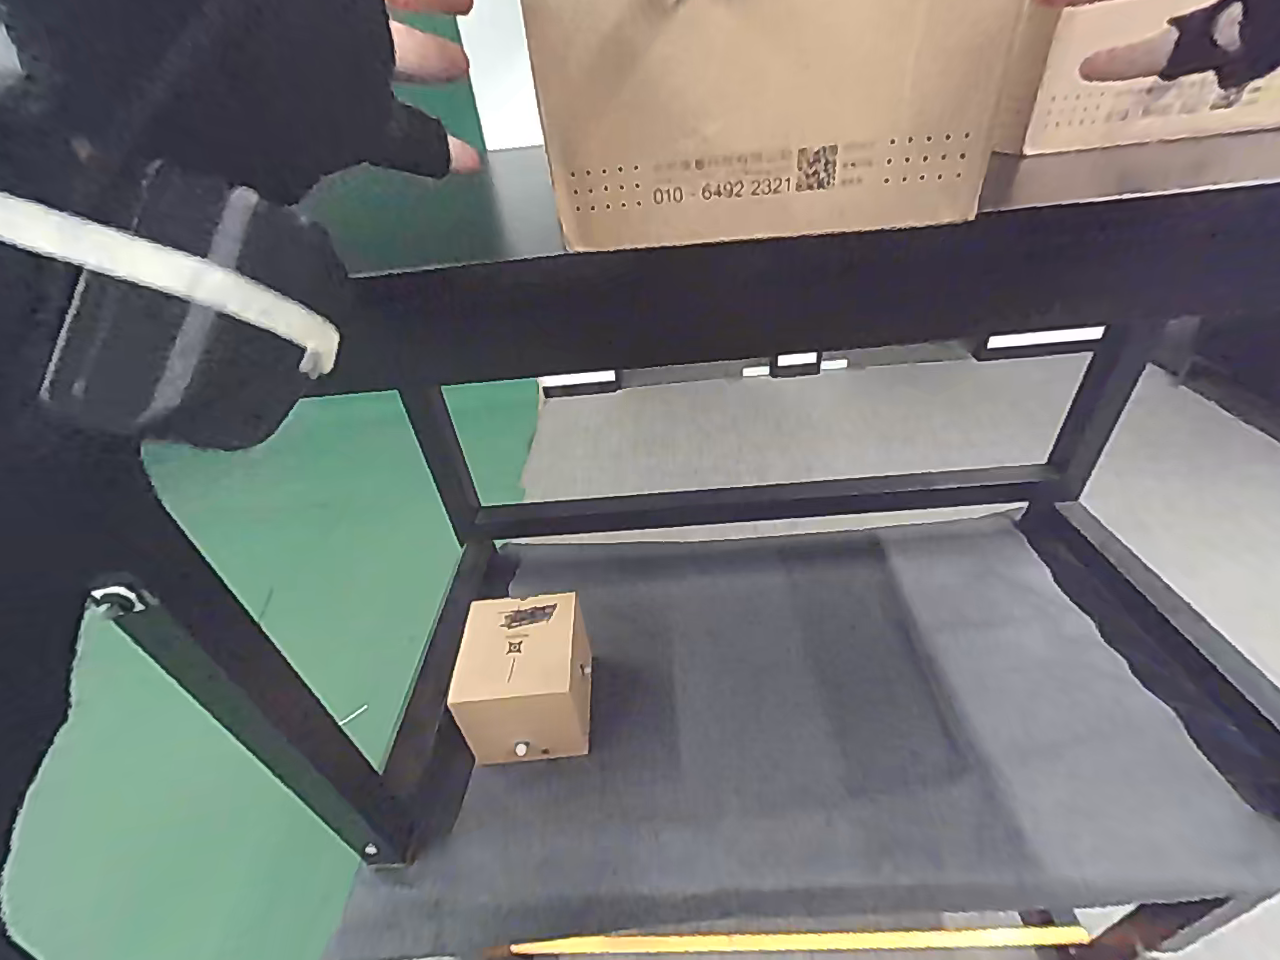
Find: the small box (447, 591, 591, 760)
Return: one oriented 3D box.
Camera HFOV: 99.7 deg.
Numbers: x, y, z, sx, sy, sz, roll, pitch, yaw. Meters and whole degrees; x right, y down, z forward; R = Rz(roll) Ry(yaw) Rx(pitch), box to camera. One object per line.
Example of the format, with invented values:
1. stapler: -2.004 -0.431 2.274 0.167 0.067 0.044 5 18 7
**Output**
1. small box: -0.169 0.295 0.822 0.168 0.176 0.179 -6 37 2
